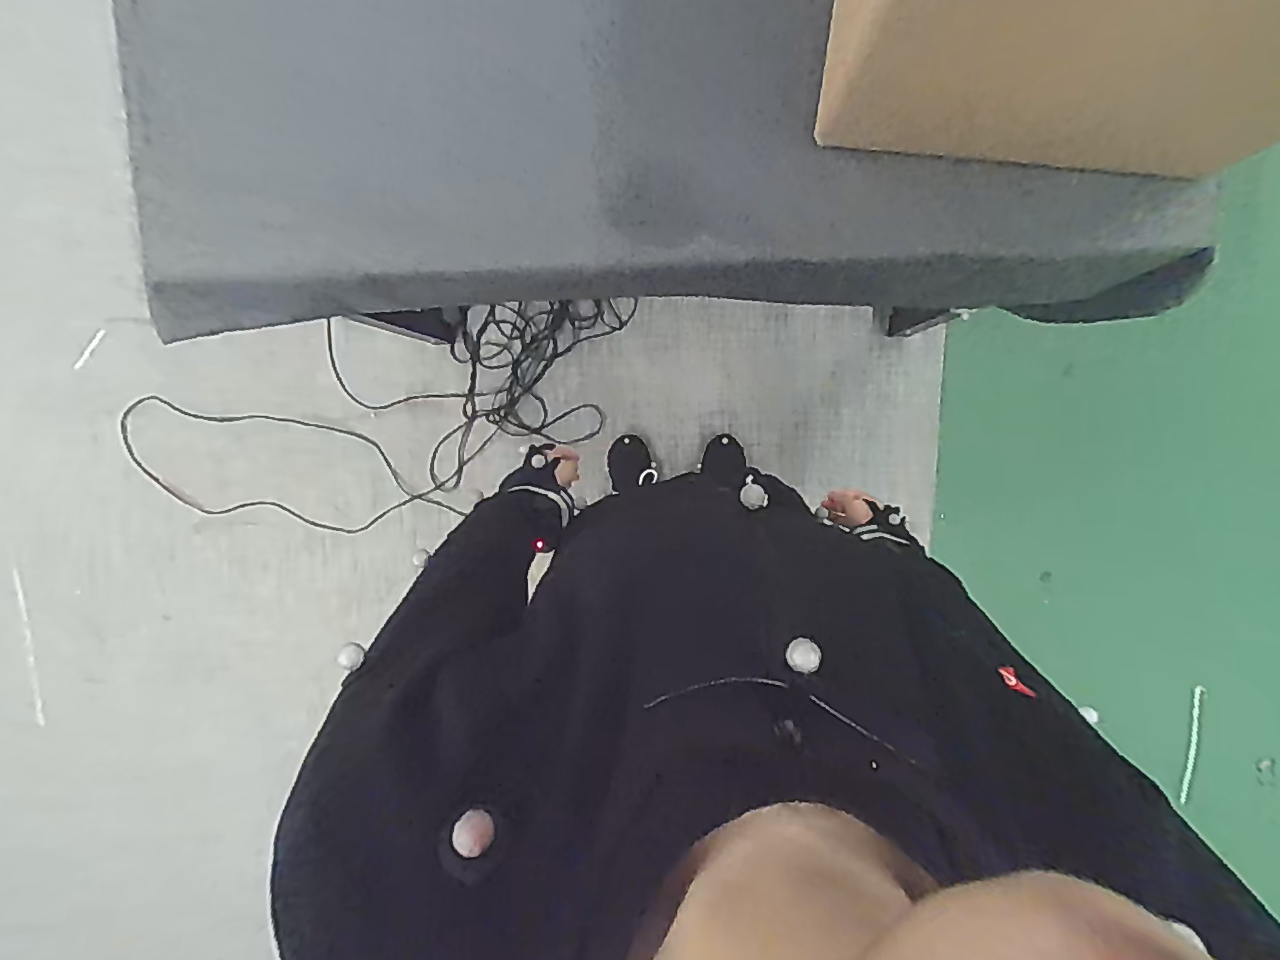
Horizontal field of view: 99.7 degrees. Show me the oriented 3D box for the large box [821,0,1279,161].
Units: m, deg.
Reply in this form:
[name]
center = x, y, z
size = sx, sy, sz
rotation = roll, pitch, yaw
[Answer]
[large box]
center = 0.389, -0.479, 0.404
size = 0.408, 0.320, 0.320
rotation = 7, 97, 3
